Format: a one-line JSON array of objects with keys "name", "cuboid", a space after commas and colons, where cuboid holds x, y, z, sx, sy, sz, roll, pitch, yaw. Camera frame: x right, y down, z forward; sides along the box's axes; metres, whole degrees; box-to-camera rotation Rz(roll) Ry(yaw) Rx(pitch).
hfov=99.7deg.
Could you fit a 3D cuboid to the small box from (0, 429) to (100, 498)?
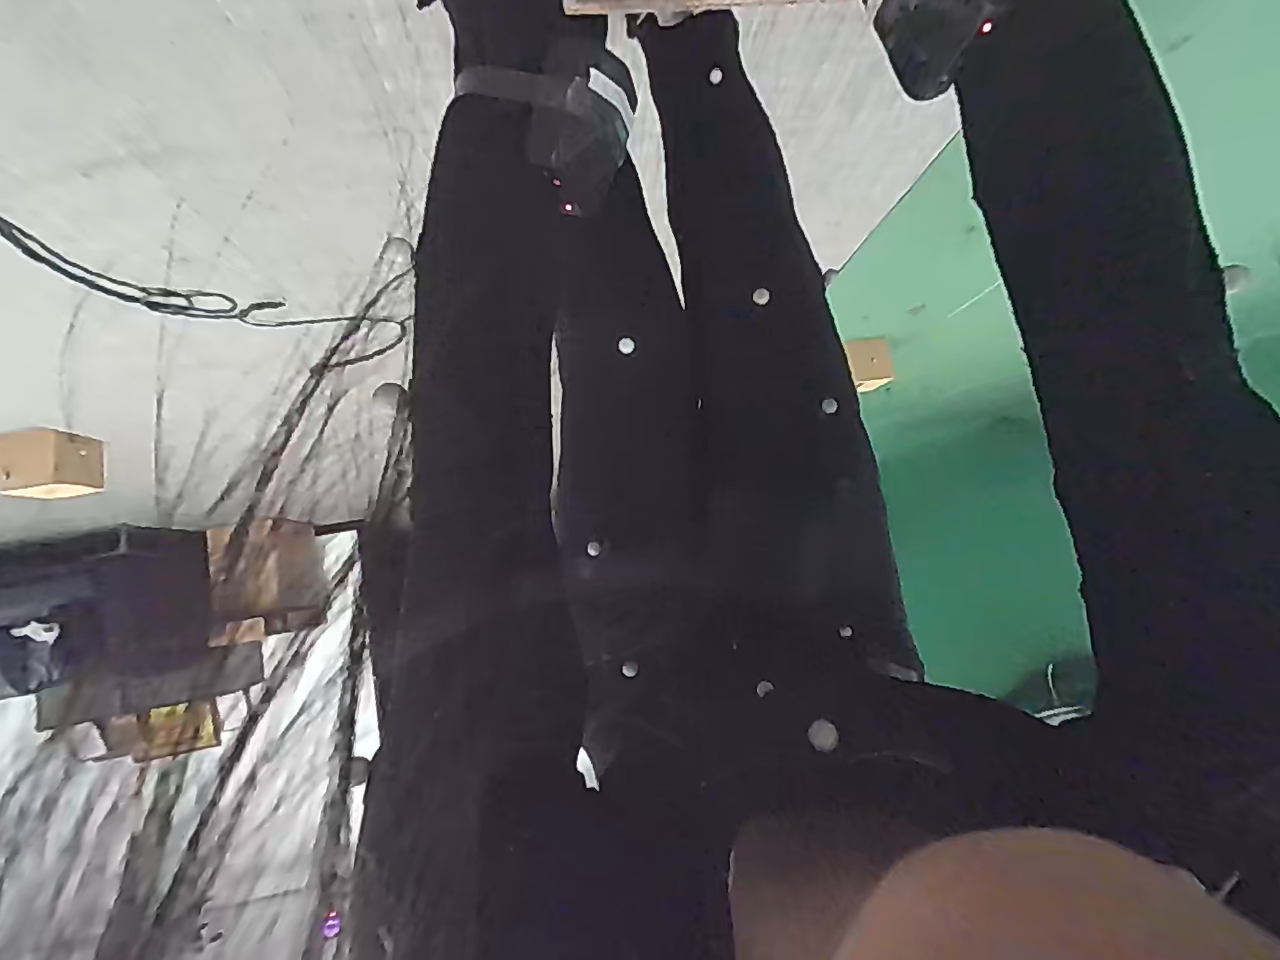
[{"name": "small box", "cuboid": [-1.816, -0.048, 1.654, 0.179, 0.176, 0.168, -9, 173, -5]}]
